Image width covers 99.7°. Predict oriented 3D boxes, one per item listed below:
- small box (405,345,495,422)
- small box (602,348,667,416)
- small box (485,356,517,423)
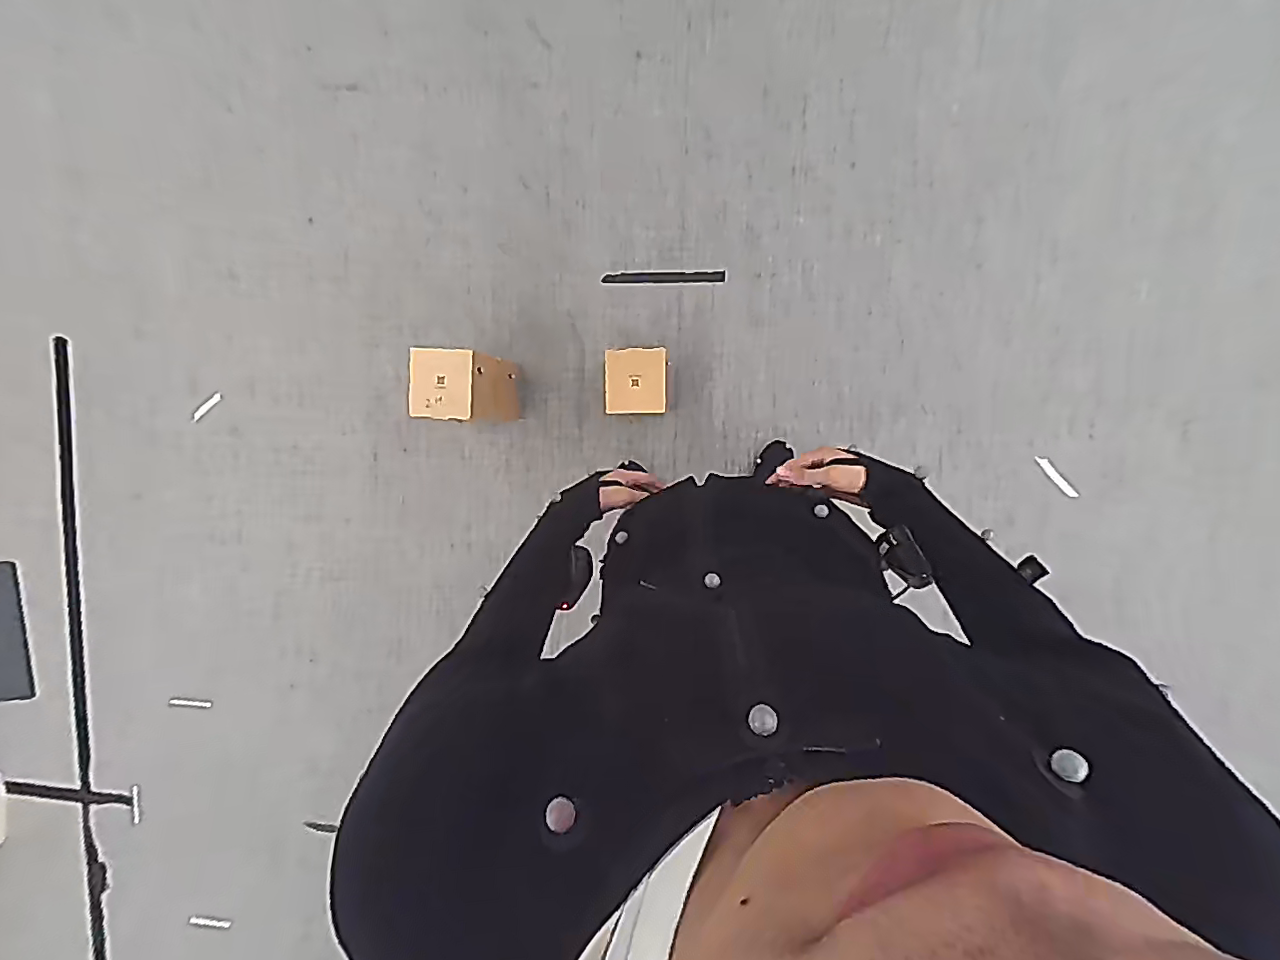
[{"bbox_3d":[-0.490,-0.247,1.413,0.168,0.176,0.179,4,95,6],"label":"small box"},{"bbox_3d":[-0.011,-0.272,1.531,0.168,0.176,0.179,-1,93,6],"label":"small box"},{"bbox_3d":[-0.466,-0.263,1.575,0.168,0.176,0.179,5,95,6],"label":"small box"}]
